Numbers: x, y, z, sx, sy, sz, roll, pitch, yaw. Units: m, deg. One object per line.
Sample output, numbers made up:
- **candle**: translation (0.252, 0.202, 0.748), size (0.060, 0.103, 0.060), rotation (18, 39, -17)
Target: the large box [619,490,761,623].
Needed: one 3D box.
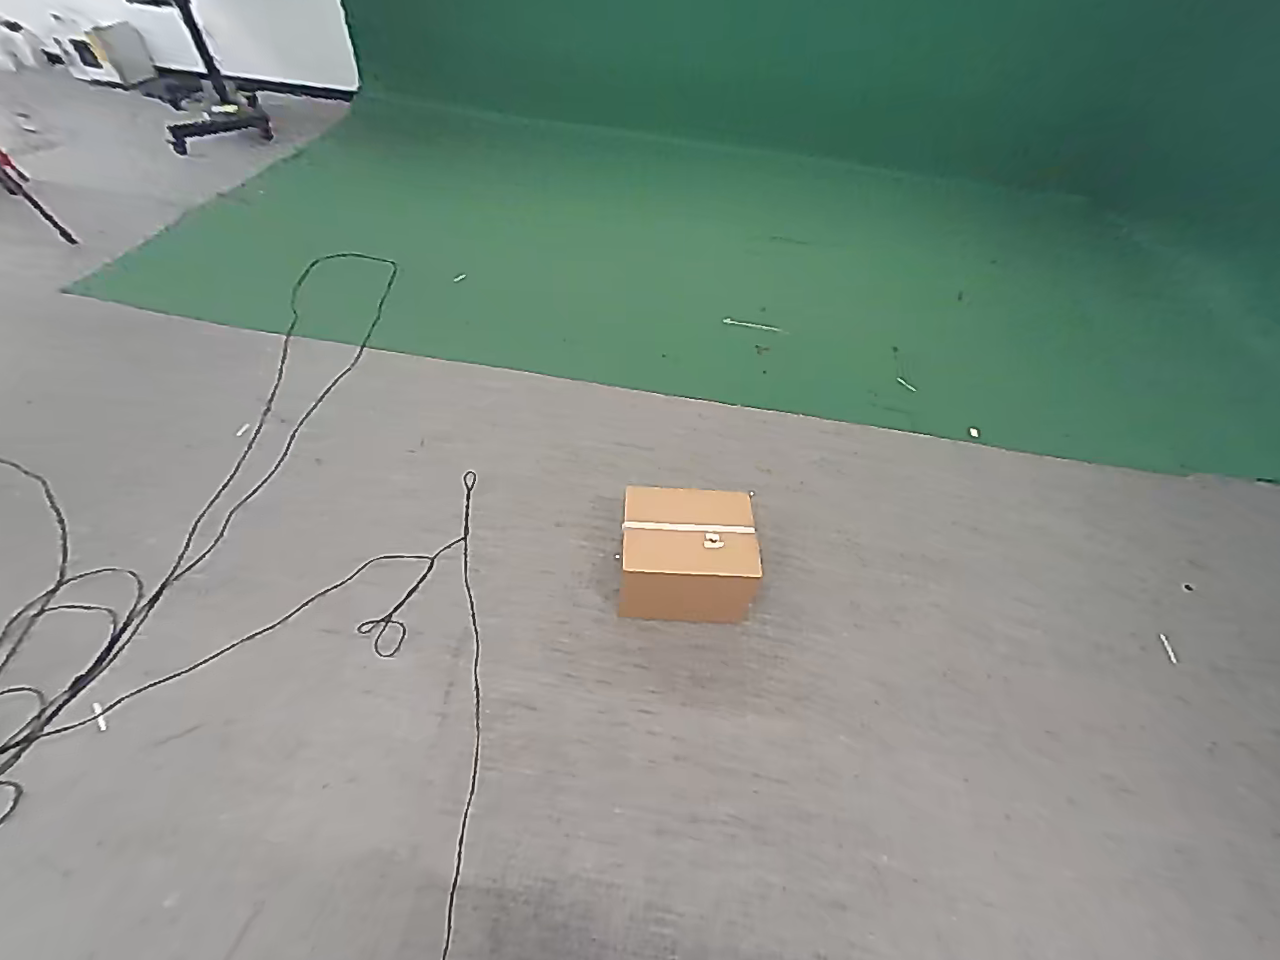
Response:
- **large box**: translation (0.138, 0.253, 1.751), size (0.408, 0.320, 0.320), rotation (3, 50, -3)
